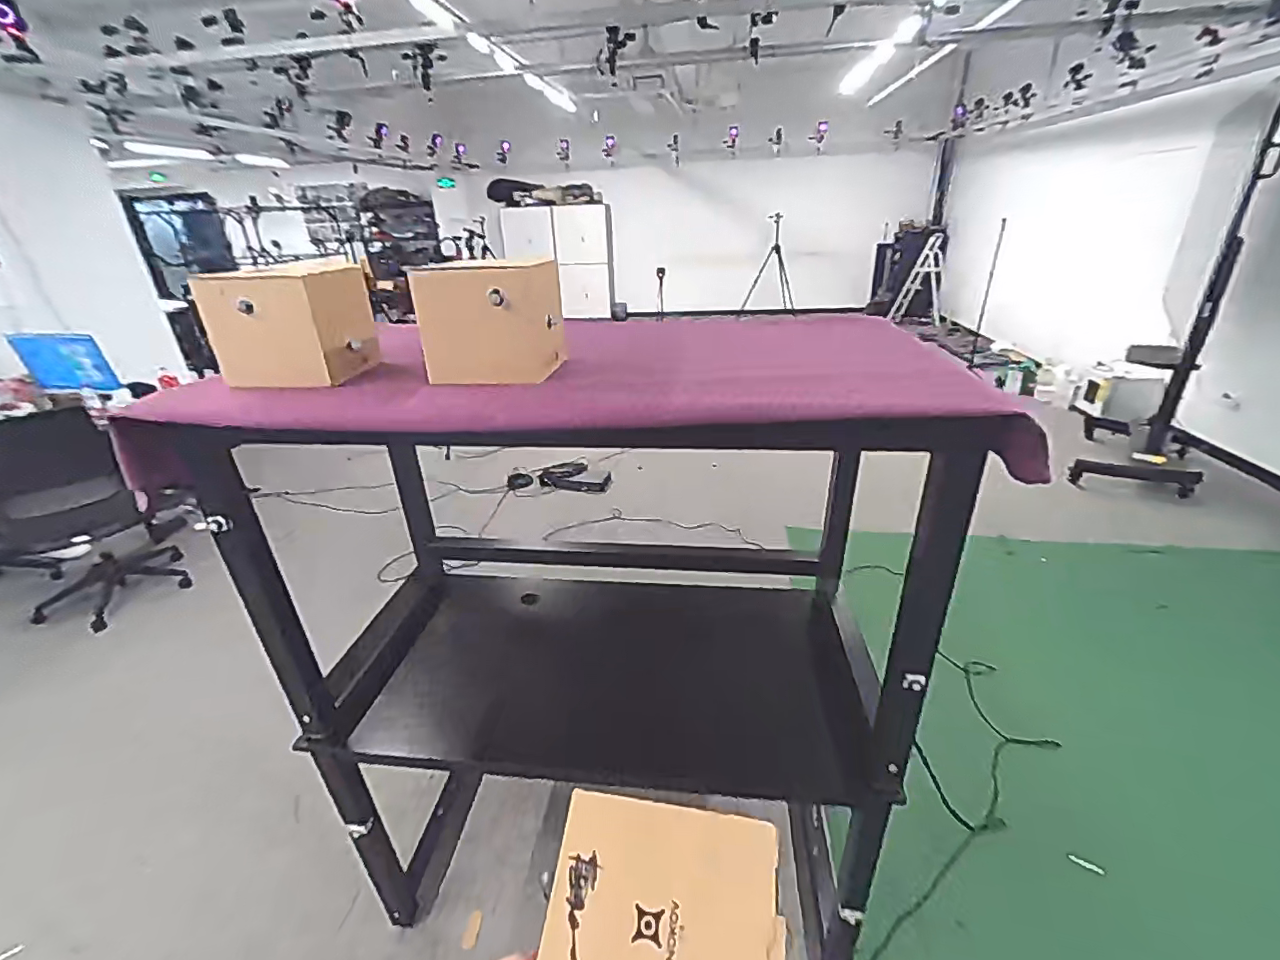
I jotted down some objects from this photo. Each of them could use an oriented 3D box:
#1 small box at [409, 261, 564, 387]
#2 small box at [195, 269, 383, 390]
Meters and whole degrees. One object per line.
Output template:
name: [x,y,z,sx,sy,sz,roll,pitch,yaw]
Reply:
small box: [-0.226,-0.247,0.853,0.179,0.176,0.168,1,25,8]
small box: [-0.557,-0.248,0.885,0.179,0.176,0.168,1,26,4]
